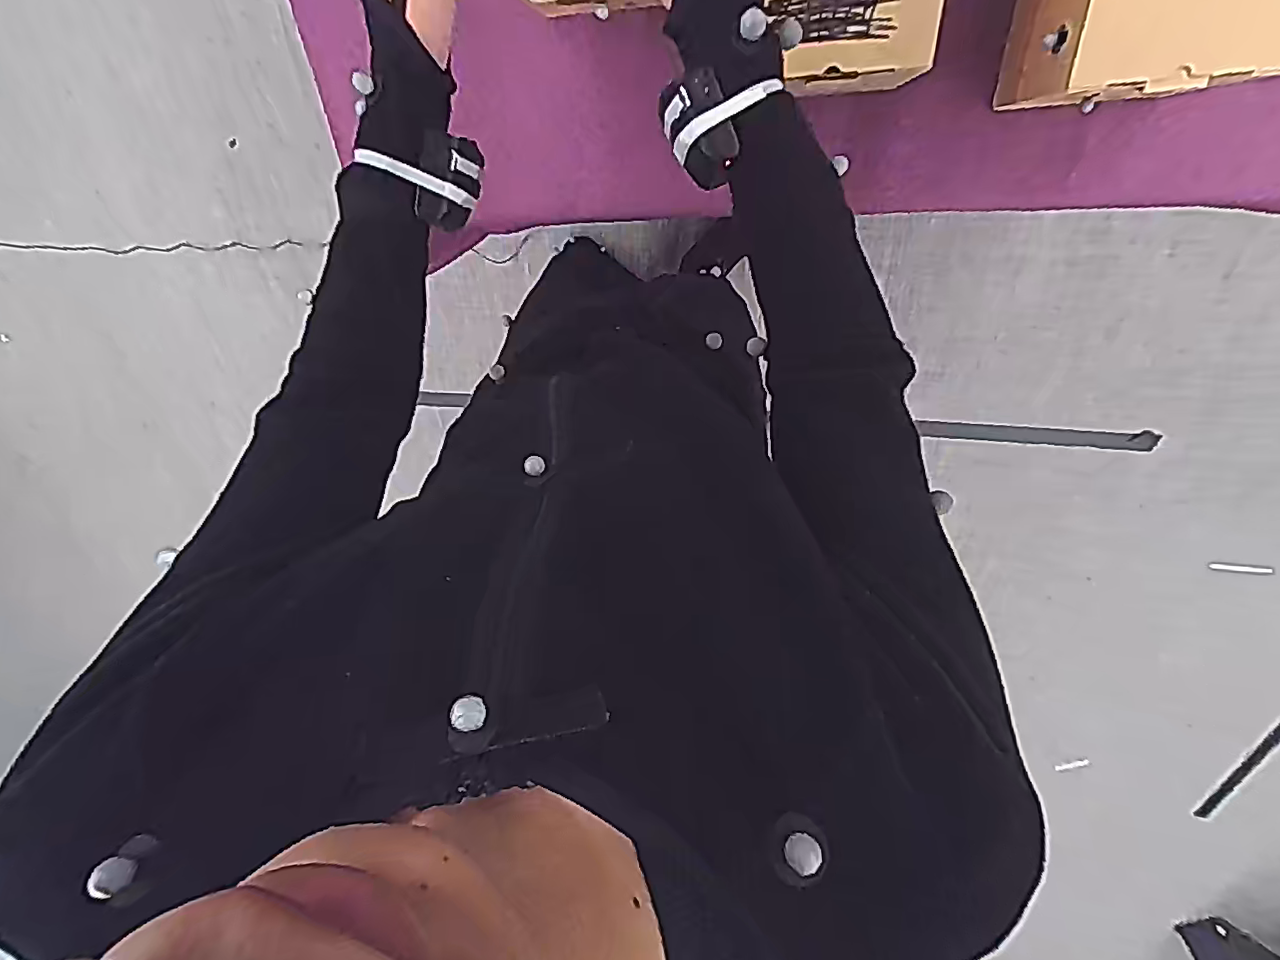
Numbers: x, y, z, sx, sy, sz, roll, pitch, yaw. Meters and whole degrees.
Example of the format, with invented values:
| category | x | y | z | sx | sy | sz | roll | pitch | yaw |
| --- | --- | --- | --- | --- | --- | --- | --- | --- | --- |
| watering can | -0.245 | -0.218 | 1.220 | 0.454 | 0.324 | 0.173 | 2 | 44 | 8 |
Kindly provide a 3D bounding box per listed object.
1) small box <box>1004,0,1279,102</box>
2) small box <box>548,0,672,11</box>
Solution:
| category | x | y | z | sx | sy | sz | roll | pitch | yaw |
| --- | --- | --- | --- | --- | --- | --- | --- | --- | --- |
| small box | 0.449 | -0.443 | 0.463 | 0.168 | 0.176 | 0.179 | 2 | 121 | 11 |
| small box | -0.044 | -0.565 | 0.493 | 0.168 | 0.176 | 0.179 | 3 | 122 | 11 |
